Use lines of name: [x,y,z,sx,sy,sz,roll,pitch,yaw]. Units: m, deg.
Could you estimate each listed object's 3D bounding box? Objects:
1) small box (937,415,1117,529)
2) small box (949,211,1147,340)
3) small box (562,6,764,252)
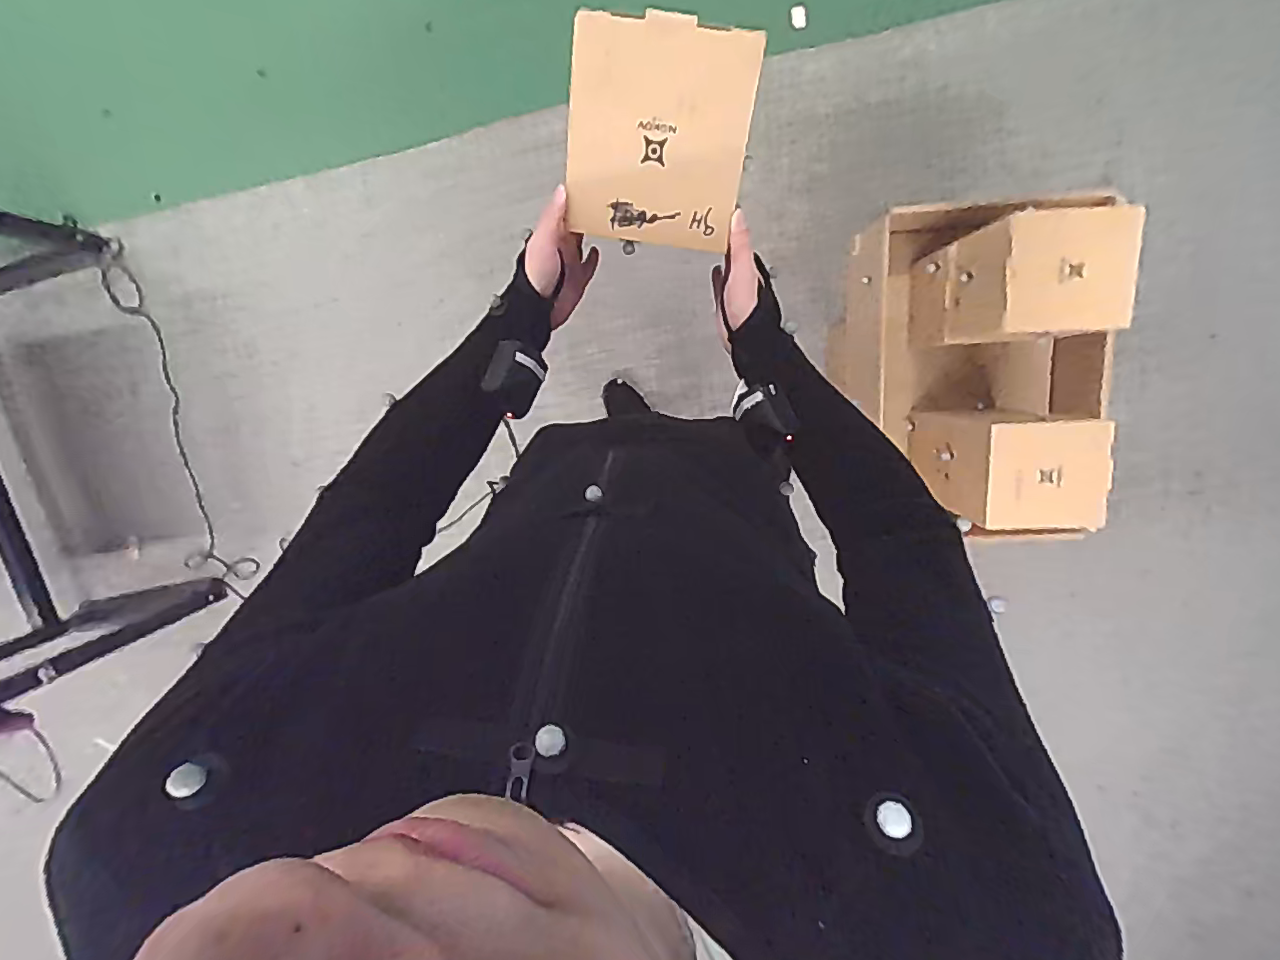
small box: [0.627,-0.019,0.897,0.179,0.176,0.168,-1,100,6]
small box: [0.619,-0.309,0.844,0.179,0.176,0.168,-1,101,5]
small box: [0.022,-0.349,0.565,0.168,0.176,0.179,10,118,3]
